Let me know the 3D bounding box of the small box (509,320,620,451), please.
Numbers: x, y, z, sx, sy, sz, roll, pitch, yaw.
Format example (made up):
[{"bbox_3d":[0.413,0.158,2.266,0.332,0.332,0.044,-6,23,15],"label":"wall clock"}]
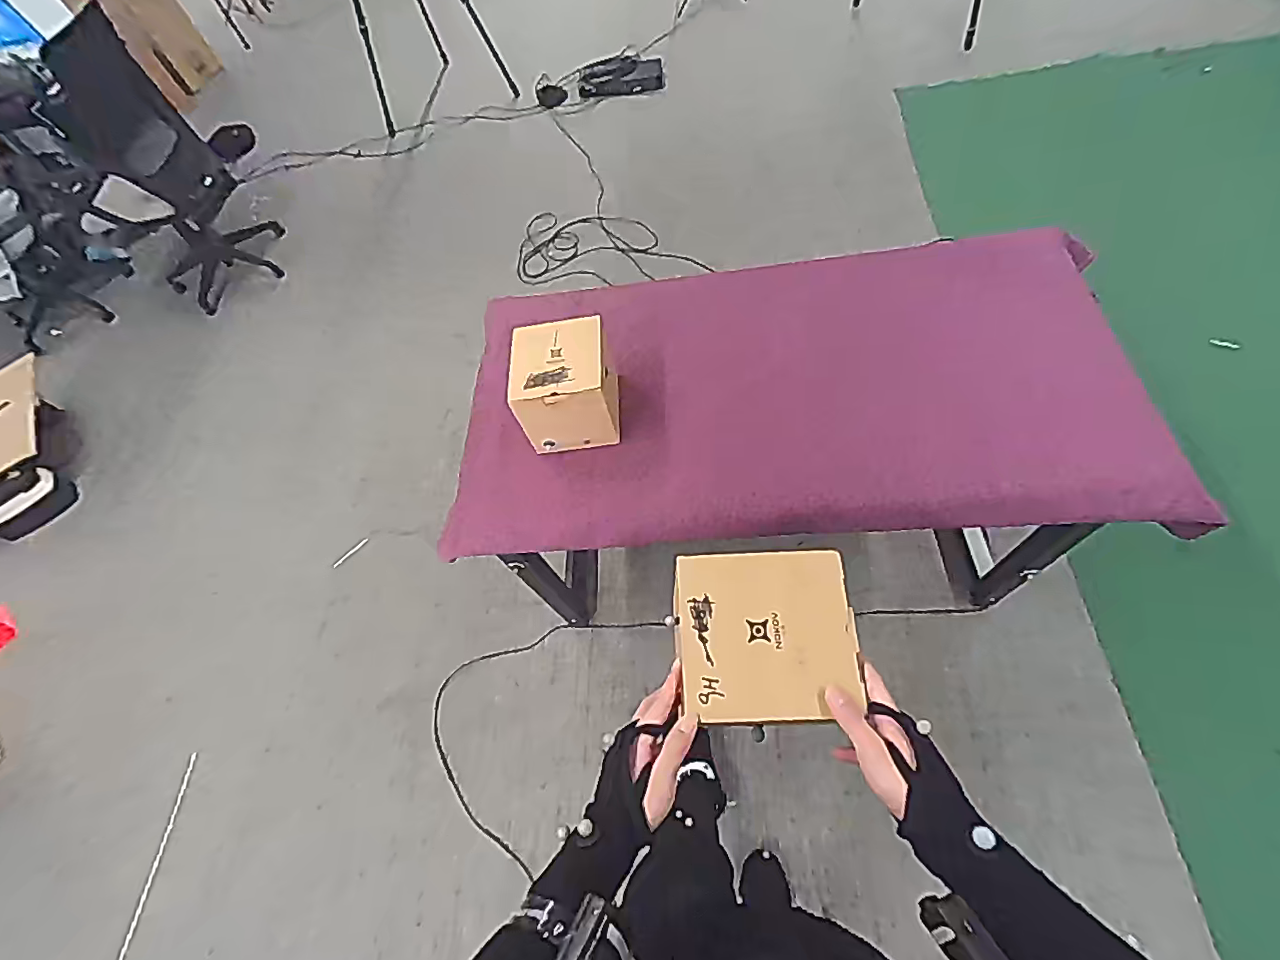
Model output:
[{"bbox_3d":[-0.133,-0.166,1.014,0.168,0.176,0.179,-7,59,6],"label":"small box"}]

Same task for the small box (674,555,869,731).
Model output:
[{"bbox_3d":[0.130,0.189,0.611,0.179,0.176,0.168,-1,63,2],"label":"small box"}]
